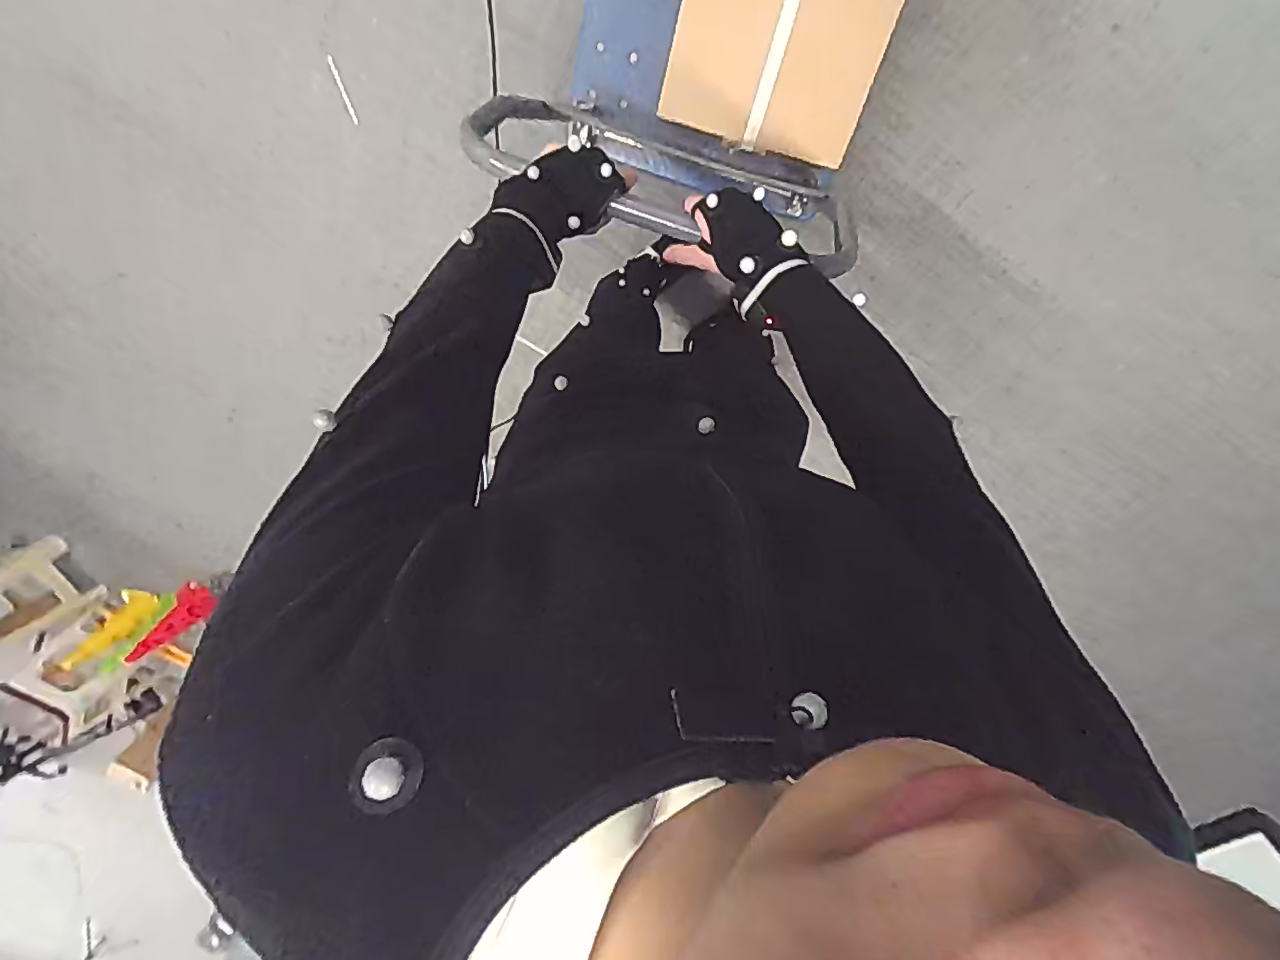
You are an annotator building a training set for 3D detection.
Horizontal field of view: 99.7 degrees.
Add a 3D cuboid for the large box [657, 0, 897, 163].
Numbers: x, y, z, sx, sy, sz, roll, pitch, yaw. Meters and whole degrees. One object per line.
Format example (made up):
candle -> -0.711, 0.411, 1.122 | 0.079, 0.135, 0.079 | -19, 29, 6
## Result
large box -> 0.239, -0.792, 0.901 | 0.320, 0.320, 0.408 | 16, 121, -1
